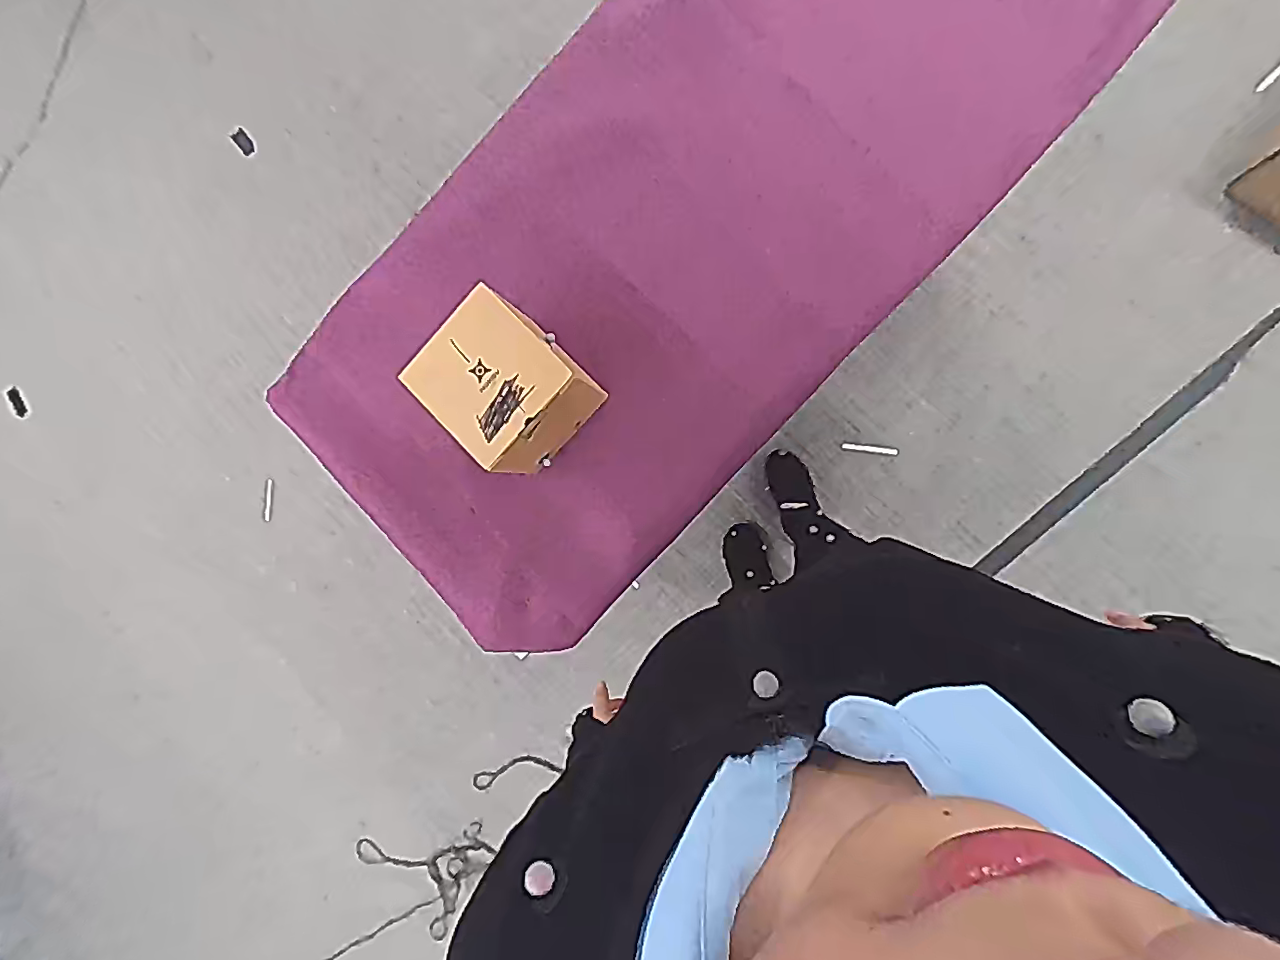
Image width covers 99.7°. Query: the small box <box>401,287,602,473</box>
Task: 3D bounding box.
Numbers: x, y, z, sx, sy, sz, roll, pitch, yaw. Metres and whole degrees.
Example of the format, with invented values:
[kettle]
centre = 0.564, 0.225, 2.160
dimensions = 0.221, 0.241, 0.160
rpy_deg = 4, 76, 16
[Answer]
[small box]
centre = -0.178, -0.126, 0.748
dimensions = 0.179, 0.176, 0.168
rpy_deg = 45, 97, 8
